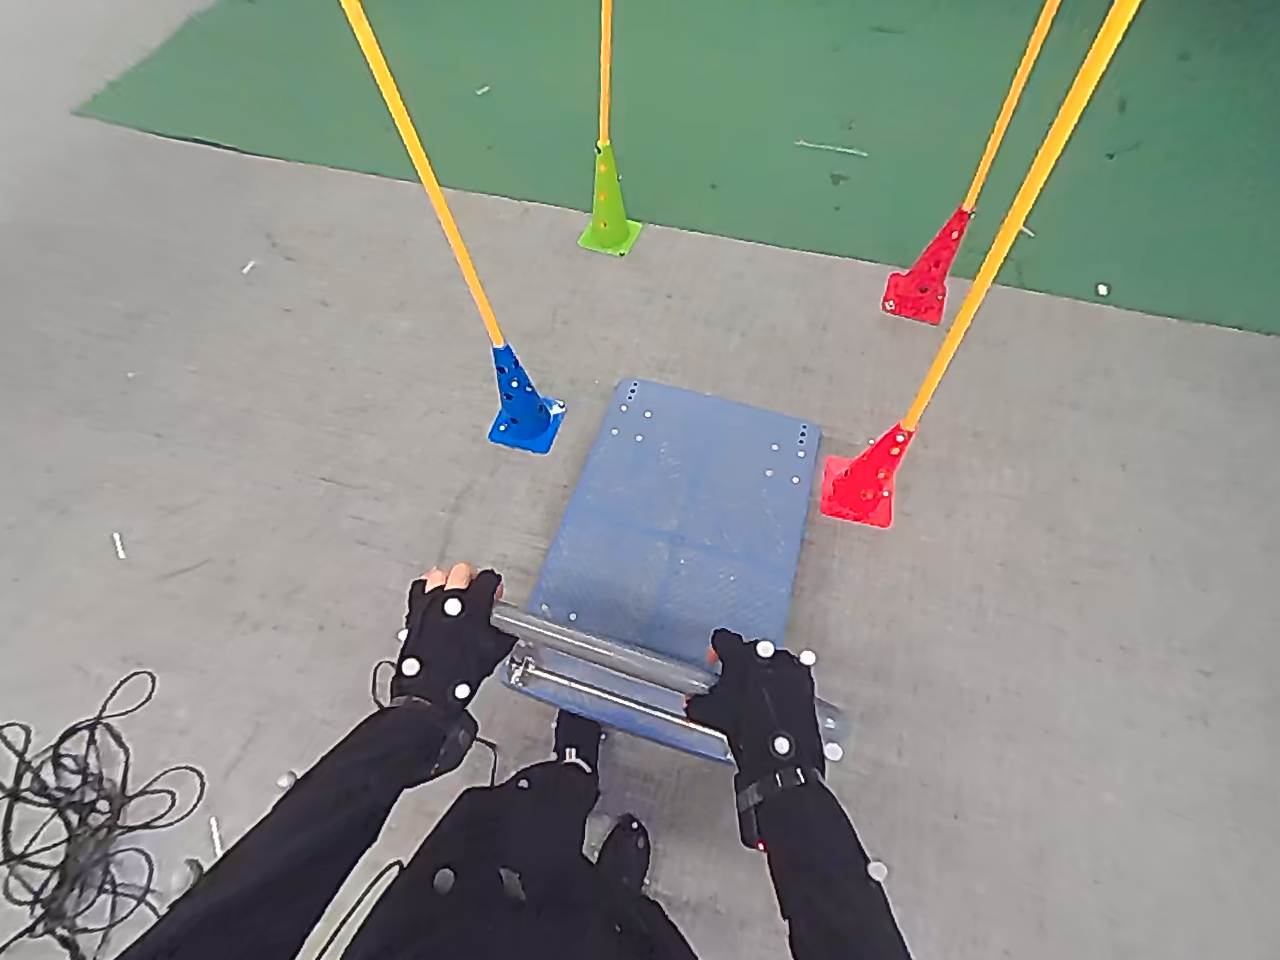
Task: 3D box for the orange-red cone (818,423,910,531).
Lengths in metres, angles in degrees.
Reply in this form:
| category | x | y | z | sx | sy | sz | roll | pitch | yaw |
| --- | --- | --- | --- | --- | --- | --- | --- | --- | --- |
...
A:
| category | x | y | z | sx | sy | sz | roll | pitch | yaw |
| --- | --- | --- | --- | --- | --- | --- | --- | --- | --- |
| orange-red cone | 0.620 | -0.036 | 1.424 | 0.199 | 0.360 | 0.198 | 13 | 63 | 9 |

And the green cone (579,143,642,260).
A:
| category | x | y | z | sx | sy | sz | roll | pitch | yaw |
| --- | --- | --- | --- | --- | --- | --- | --- | --- | --- |
| green cone | -0.117 | -1.008 | 1.928 | 0.202 | 0.368 | 0.200 | 18 | 64 | 10 |
